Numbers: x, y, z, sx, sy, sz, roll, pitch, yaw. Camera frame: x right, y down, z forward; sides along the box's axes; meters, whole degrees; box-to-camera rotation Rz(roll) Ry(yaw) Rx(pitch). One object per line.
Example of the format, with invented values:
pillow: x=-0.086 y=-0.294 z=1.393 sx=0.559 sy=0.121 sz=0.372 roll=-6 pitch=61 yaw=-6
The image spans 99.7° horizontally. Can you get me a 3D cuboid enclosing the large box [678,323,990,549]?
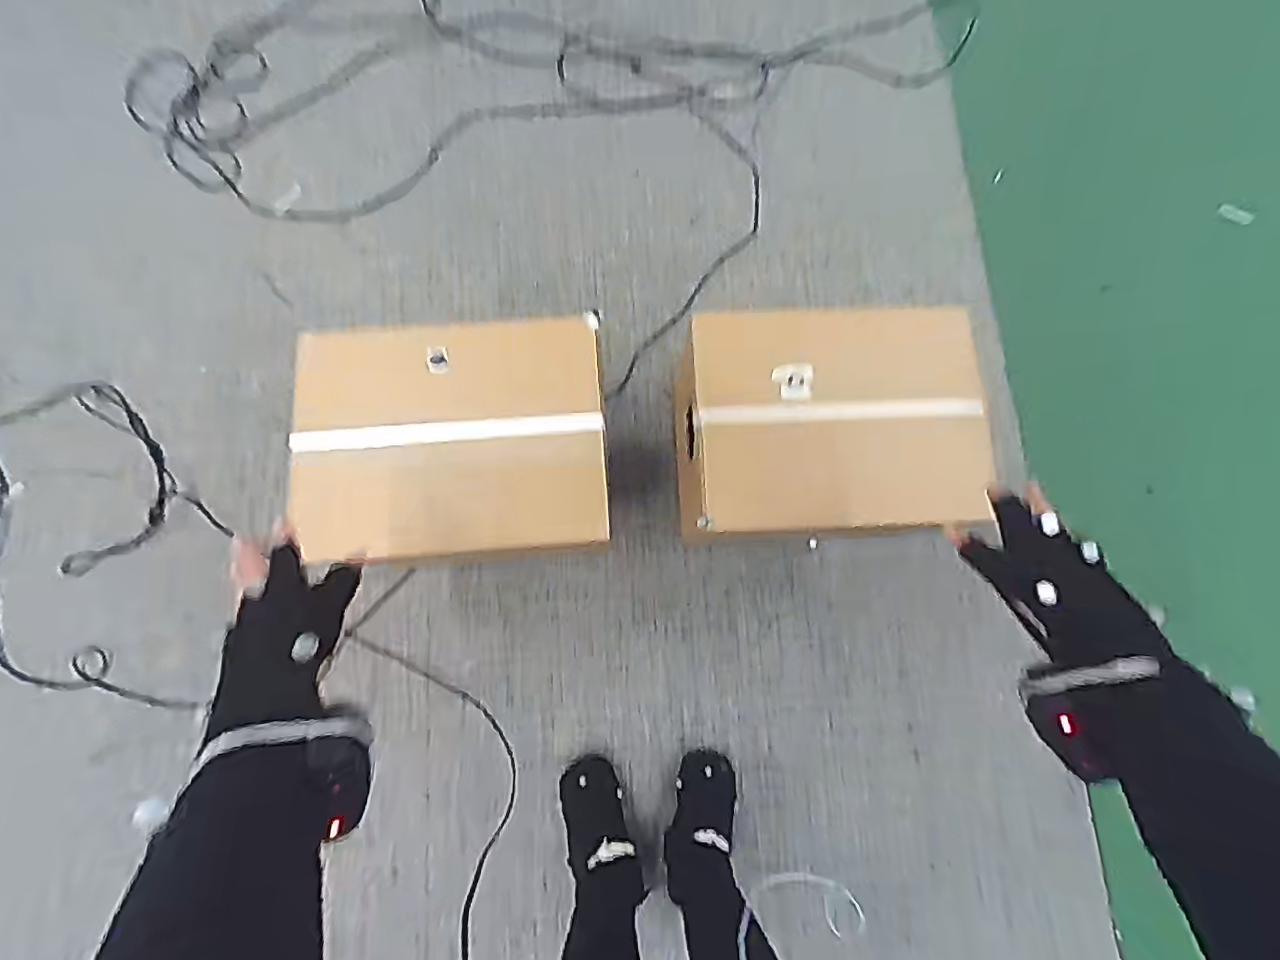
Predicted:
large box: x=0.284 y=-0.050 z=0.918 sx=0.408 sy=0.320 sz=0.320 roll=-2 pitch=79 yaw=-2
